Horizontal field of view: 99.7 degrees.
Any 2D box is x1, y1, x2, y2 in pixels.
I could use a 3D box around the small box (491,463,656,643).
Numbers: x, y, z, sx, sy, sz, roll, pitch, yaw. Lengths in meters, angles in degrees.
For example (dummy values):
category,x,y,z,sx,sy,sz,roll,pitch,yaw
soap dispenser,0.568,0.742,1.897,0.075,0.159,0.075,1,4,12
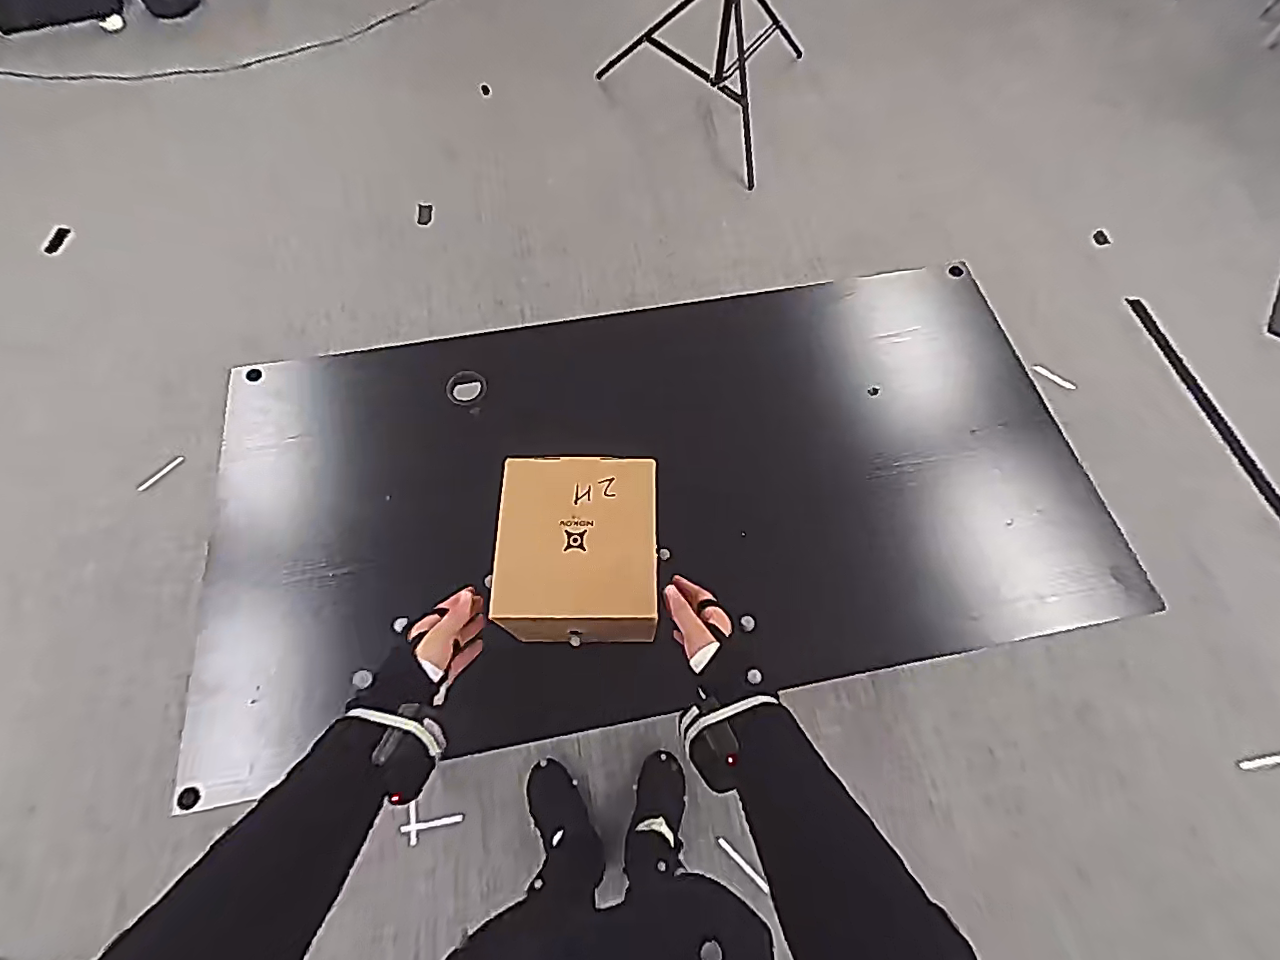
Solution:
category,x,y,z,sx,sy,sz,roll,pitch,yaw
small box,-0.065,0.093,0.637,0.168,0.176,0.179,0,65,-1
